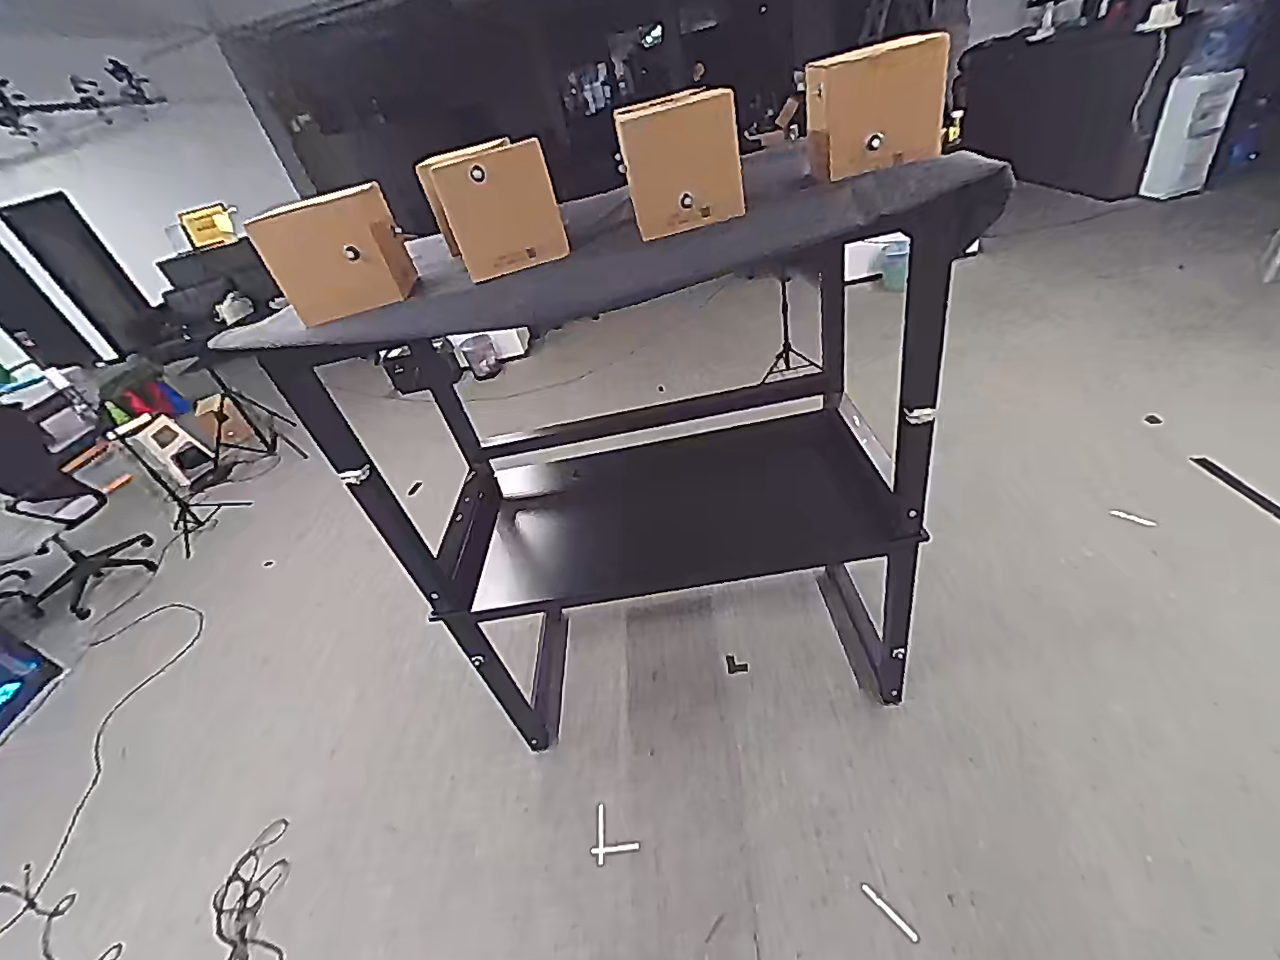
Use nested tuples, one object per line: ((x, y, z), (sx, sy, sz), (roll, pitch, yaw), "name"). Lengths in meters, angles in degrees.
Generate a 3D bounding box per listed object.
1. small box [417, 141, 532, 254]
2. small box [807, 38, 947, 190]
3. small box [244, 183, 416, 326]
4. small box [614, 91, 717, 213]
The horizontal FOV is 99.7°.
((-0.334, -0.590, 1.133), (0.168, 0.176, 0.179), (-13, 37, 4), "small box")
((0.369, -0.587, 0.876), (0.168, 0.176, 0.179), (-8, 37, 10), "small box")
((-0.506, -0.384, 0.919), (0.179, 0.176, 0.168), (-16, 36, -2), "small box")
((0.049, -0.638, 1.060), (0.168, 0.176, 0.179), (-12, 35, 4), "small box")
